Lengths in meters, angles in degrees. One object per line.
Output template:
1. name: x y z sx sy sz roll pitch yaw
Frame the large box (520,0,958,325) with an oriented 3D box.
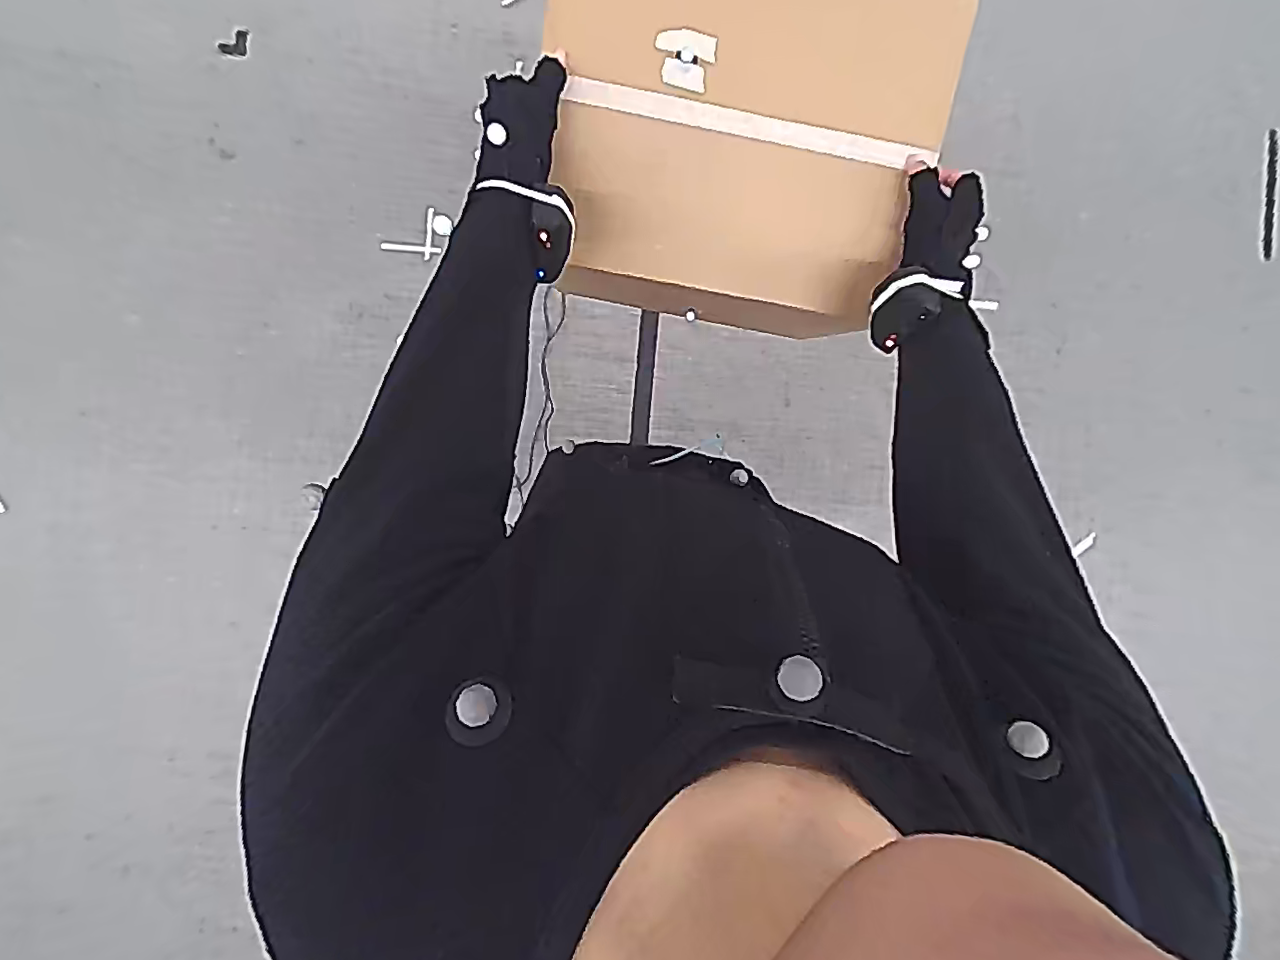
1. large box: 0.091 -0.389 0.689 0.408 0.320 0.320 9 101 -3
